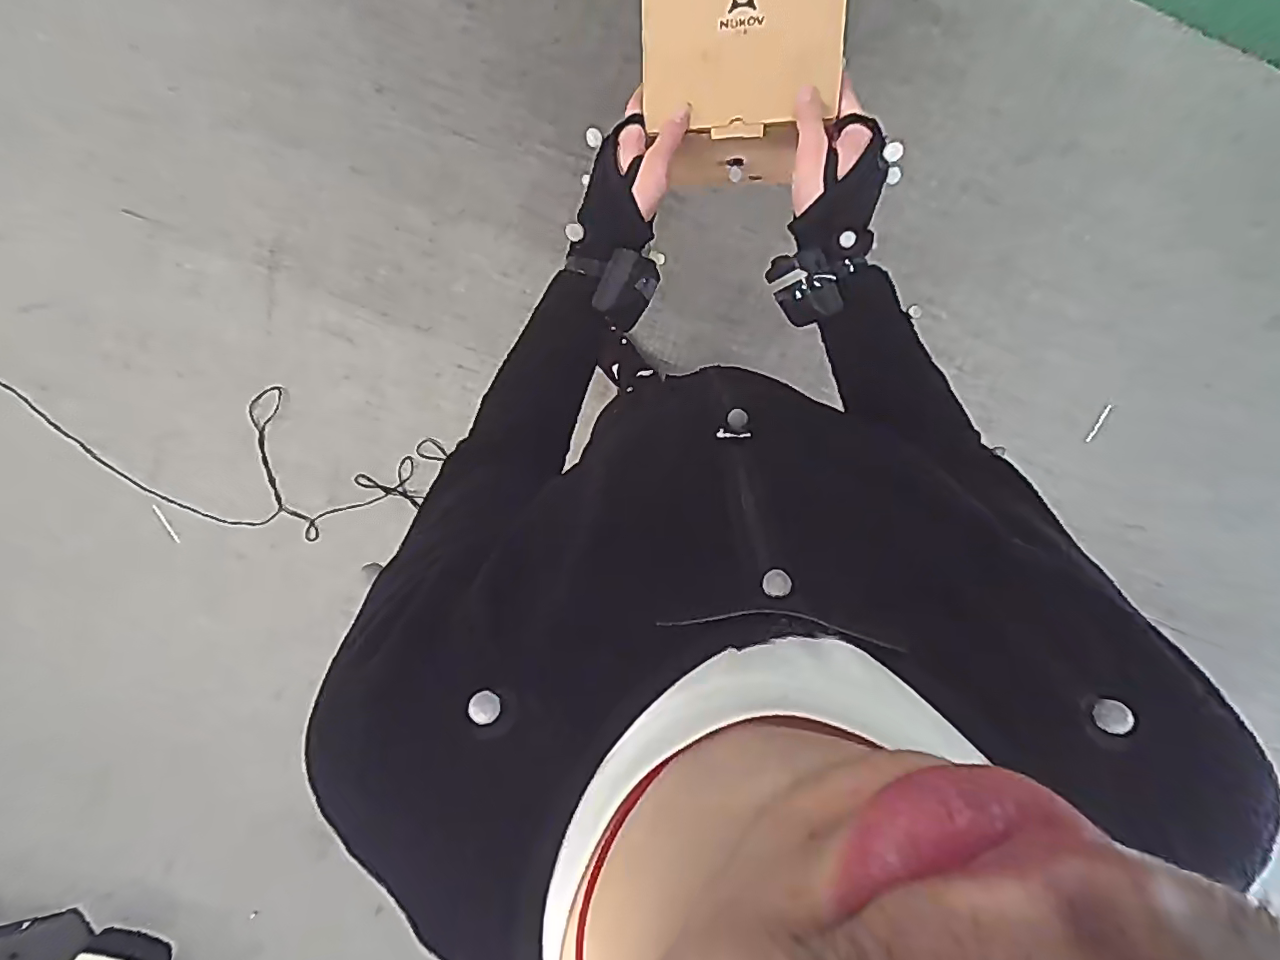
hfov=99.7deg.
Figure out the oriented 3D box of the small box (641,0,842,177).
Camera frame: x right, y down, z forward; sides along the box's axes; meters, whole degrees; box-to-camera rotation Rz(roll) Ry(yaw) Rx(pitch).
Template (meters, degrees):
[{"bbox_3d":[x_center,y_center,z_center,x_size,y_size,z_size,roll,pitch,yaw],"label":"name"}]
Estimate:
[{"bbox_3d":[0.097,-0.409,0.521,0.168,0.176,0.179,0,104,11],"label":"small box"}]
